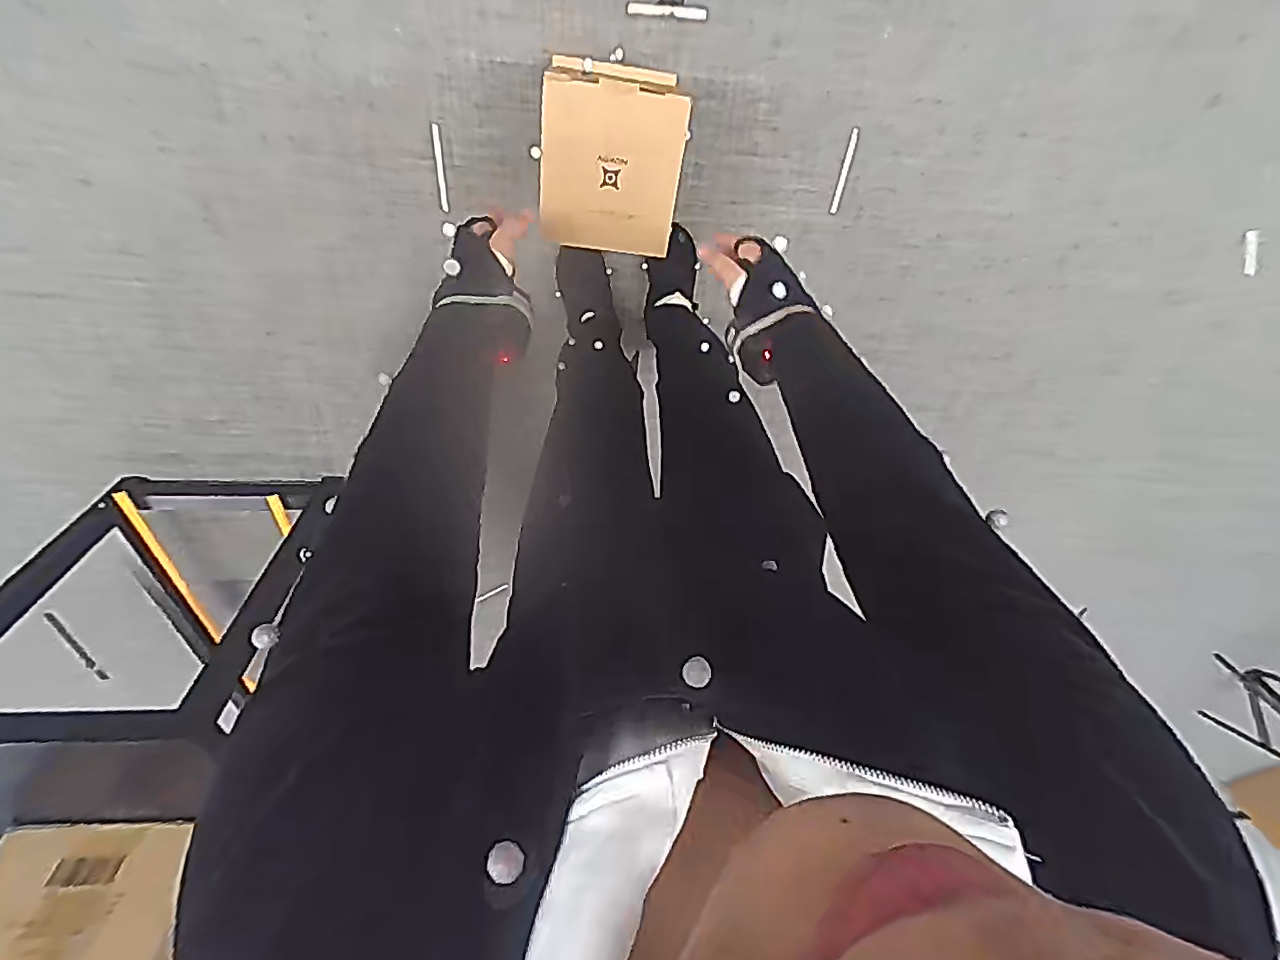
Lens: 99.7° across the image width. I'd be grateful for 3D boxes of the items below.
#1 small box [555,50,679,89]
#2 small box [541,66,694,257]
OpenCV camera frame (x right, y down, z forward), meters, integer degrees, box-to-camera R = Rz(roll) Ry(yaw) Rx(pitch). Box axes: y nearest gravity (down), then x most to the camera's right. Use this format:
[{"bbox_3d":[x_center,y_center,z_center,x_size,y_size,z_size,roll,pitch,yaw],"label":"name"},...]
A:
[{"bbox_3d":[-0.046,-0.525,0.812,0.168,0.176,0.179,4,129,-8],"label":"small box"},{"bbox_3d":[-0.037,-0.411,0.695,0.168,0.176,0.179,5,130,-7],"label":"small box"}]
